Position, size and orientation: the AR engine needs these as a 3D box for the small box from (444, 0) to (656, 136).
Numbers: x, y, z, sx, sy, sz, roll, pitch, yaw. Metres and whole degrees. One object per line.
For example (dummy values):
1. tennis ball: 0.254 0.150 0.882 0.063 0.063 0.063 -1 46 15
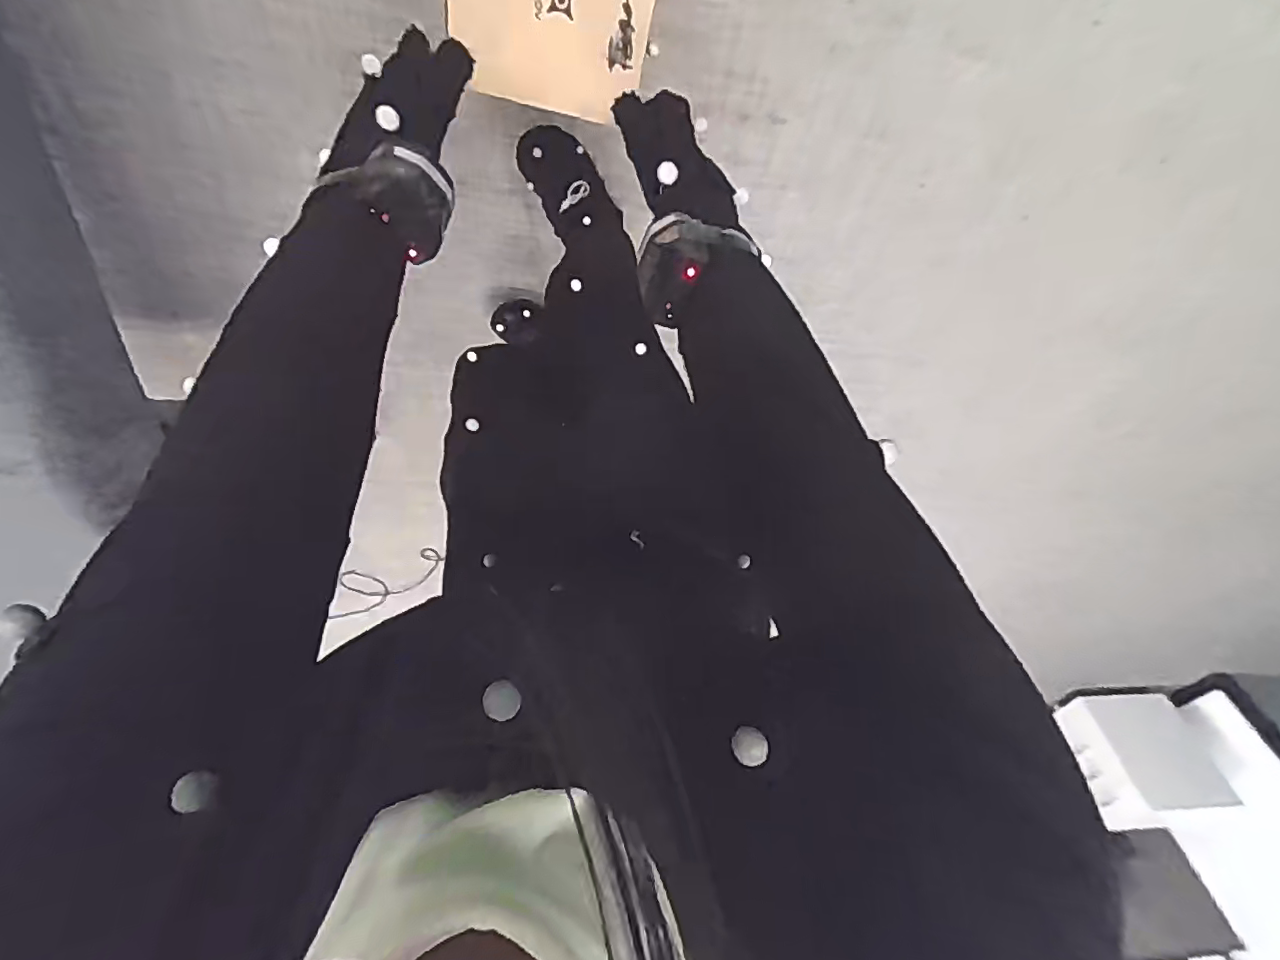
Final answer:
1. small box: -0.078 -0.461 0.516 0.179 0.176 0.168 9 134 -11
